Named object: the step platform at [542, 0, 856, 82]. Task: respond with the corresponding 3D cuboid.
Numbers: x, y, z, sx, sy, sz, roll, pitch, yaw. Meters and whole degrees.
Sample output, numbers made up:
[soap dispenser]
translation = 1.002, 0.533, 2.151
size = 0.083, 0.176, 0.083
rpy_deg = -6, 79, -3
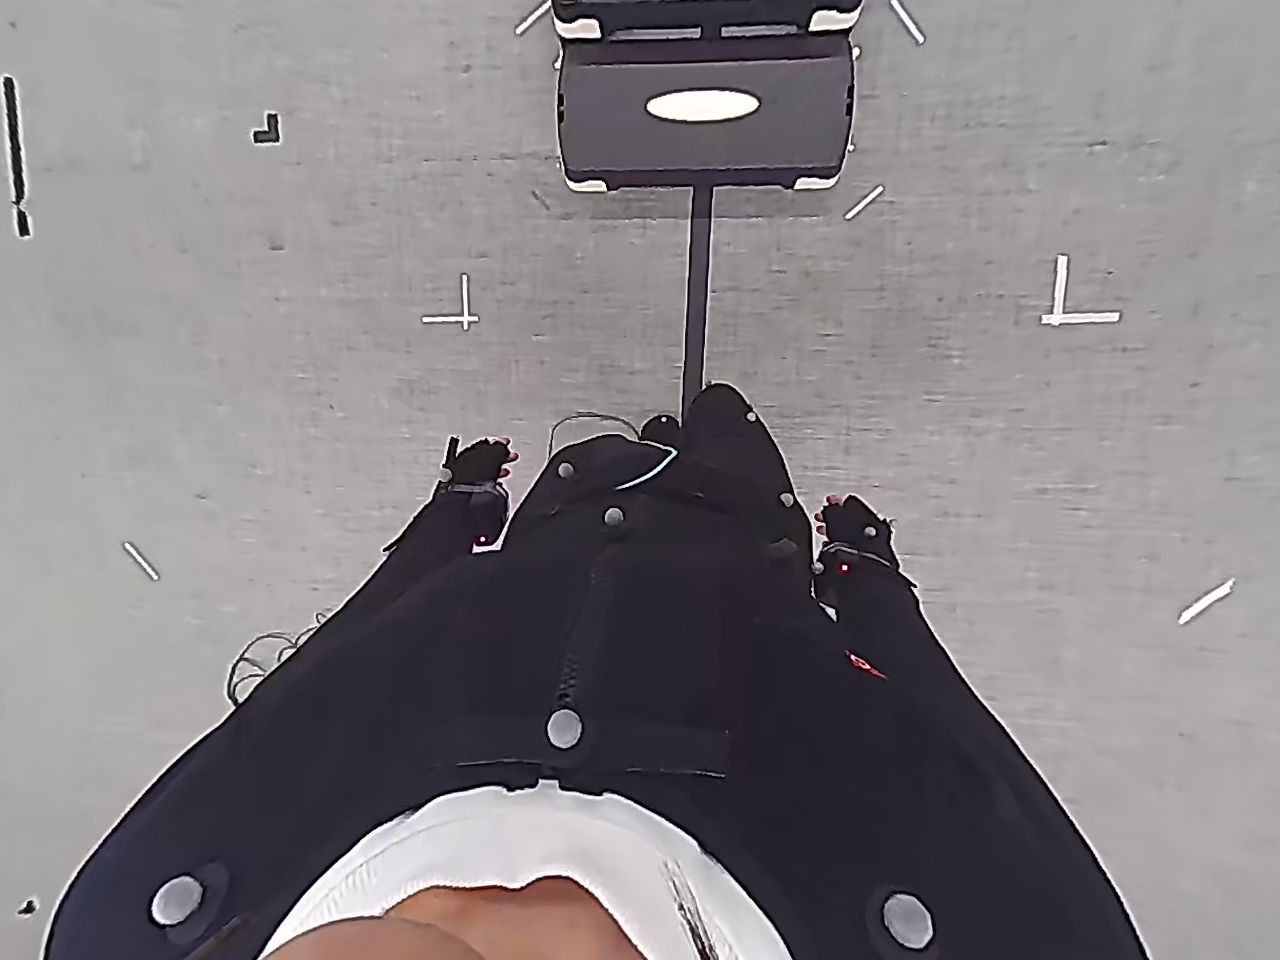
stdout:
[step platform]
translation = 0.124, -1.093, 1.182
size = 0.684, 0.204, 0.286
rpy_deg = 1, 99, 4
